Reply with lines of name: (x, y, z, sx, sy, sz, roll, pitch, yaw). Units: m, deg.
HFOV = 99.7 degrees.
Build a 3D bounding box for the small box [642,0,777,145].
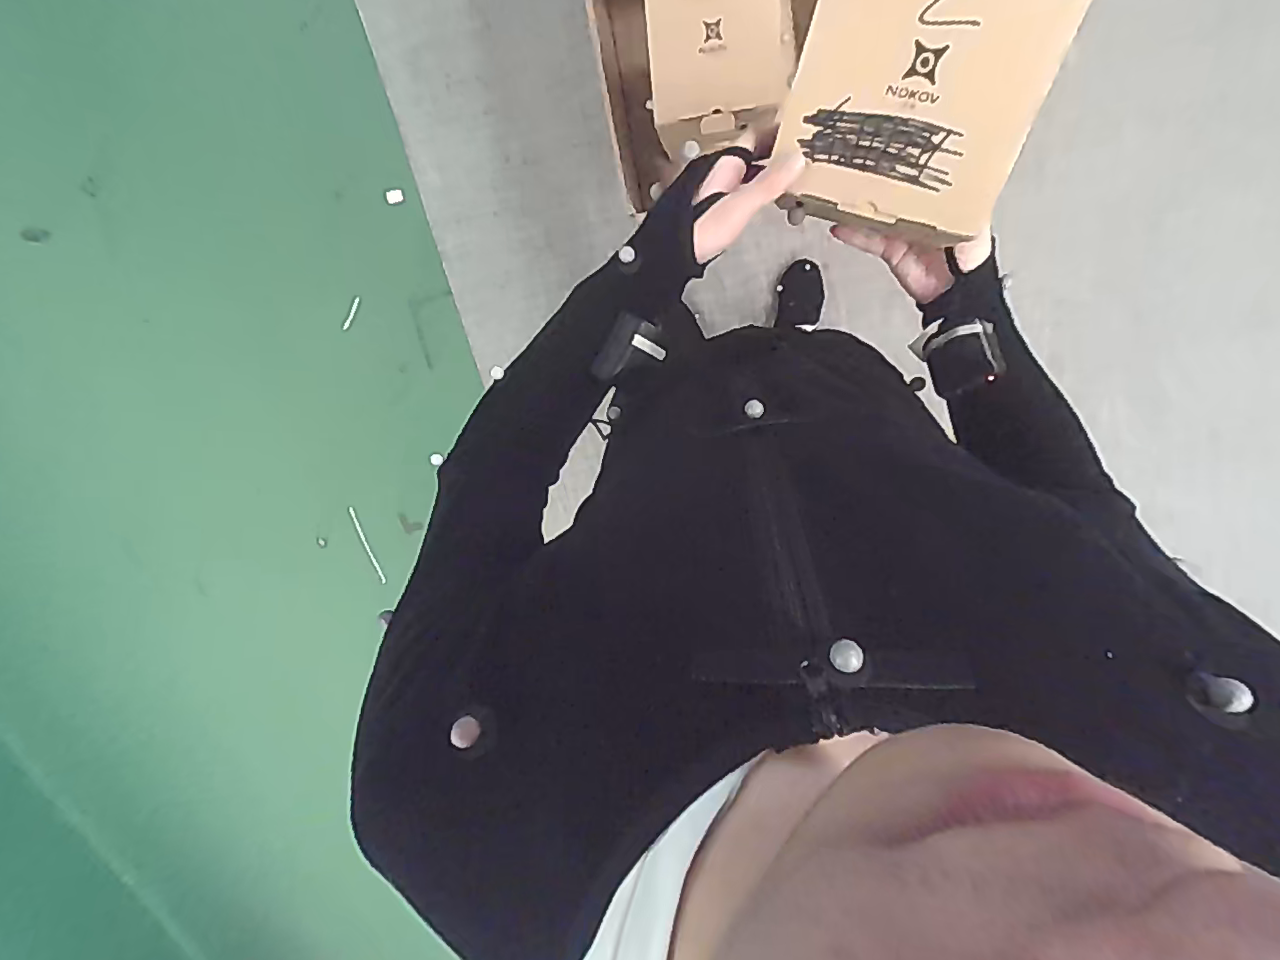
small box: (0.098, -0.580, 0.745, 0.168, 0.176, 0.179, -3, 110, 9)
